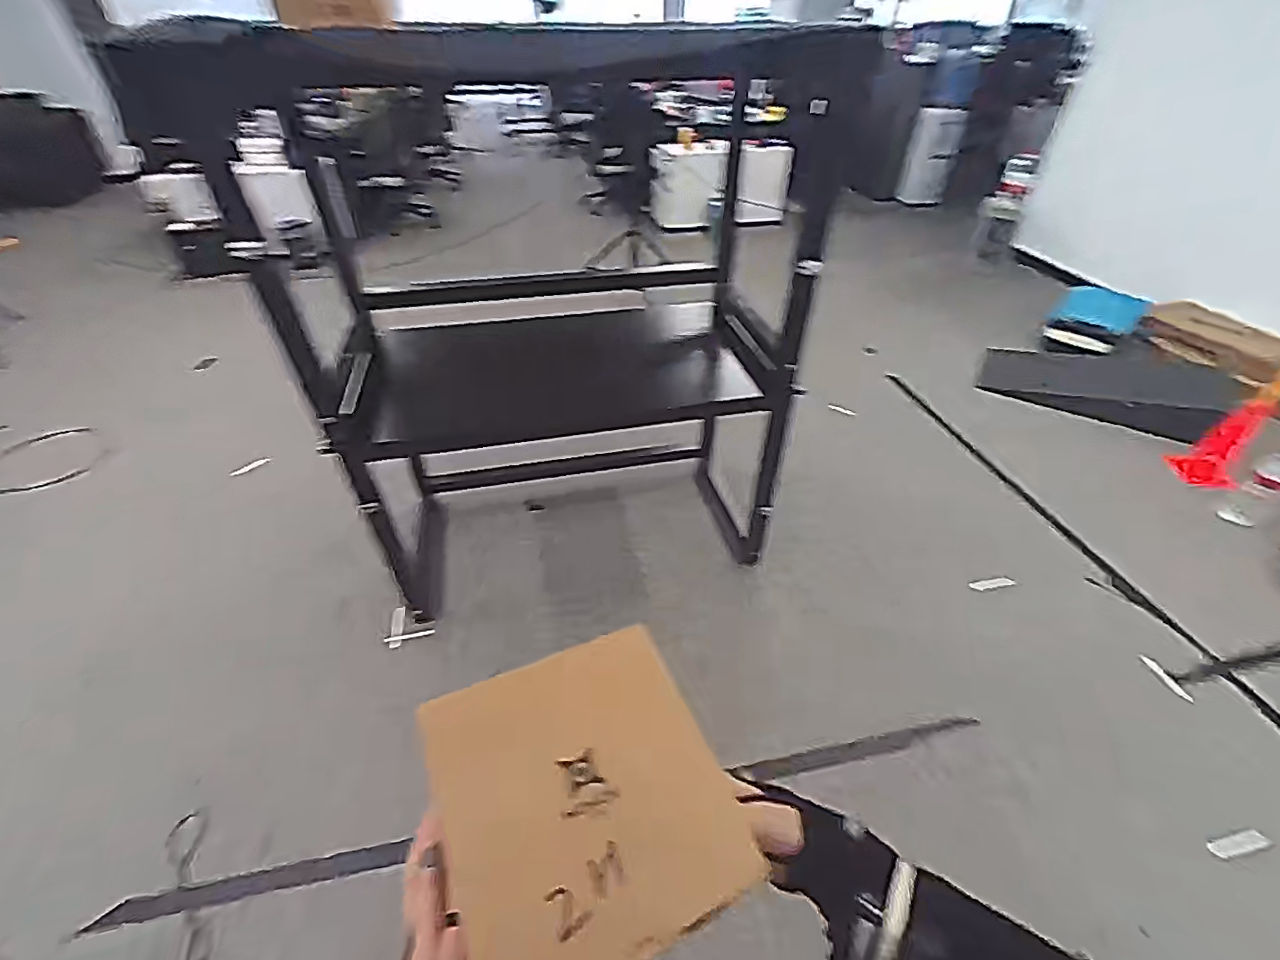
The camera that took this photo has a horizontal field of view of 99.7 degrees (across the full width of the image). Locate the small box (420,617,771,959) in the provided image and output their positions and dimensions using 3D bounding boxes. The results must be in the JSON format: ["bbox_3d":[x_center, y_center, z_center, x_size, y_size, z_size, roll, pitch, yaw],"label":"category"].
[{"bbox_3d":[-0.045,0.234,0.382,0.168,0.176,0.179,-15,52,-24],"label":"small box"}]

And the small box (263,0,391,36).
[{"bbox_3d":[-0.503,-0.809,0.845,0.168,0.176,0.179,-8,41,-11],"label":"small box"}]
